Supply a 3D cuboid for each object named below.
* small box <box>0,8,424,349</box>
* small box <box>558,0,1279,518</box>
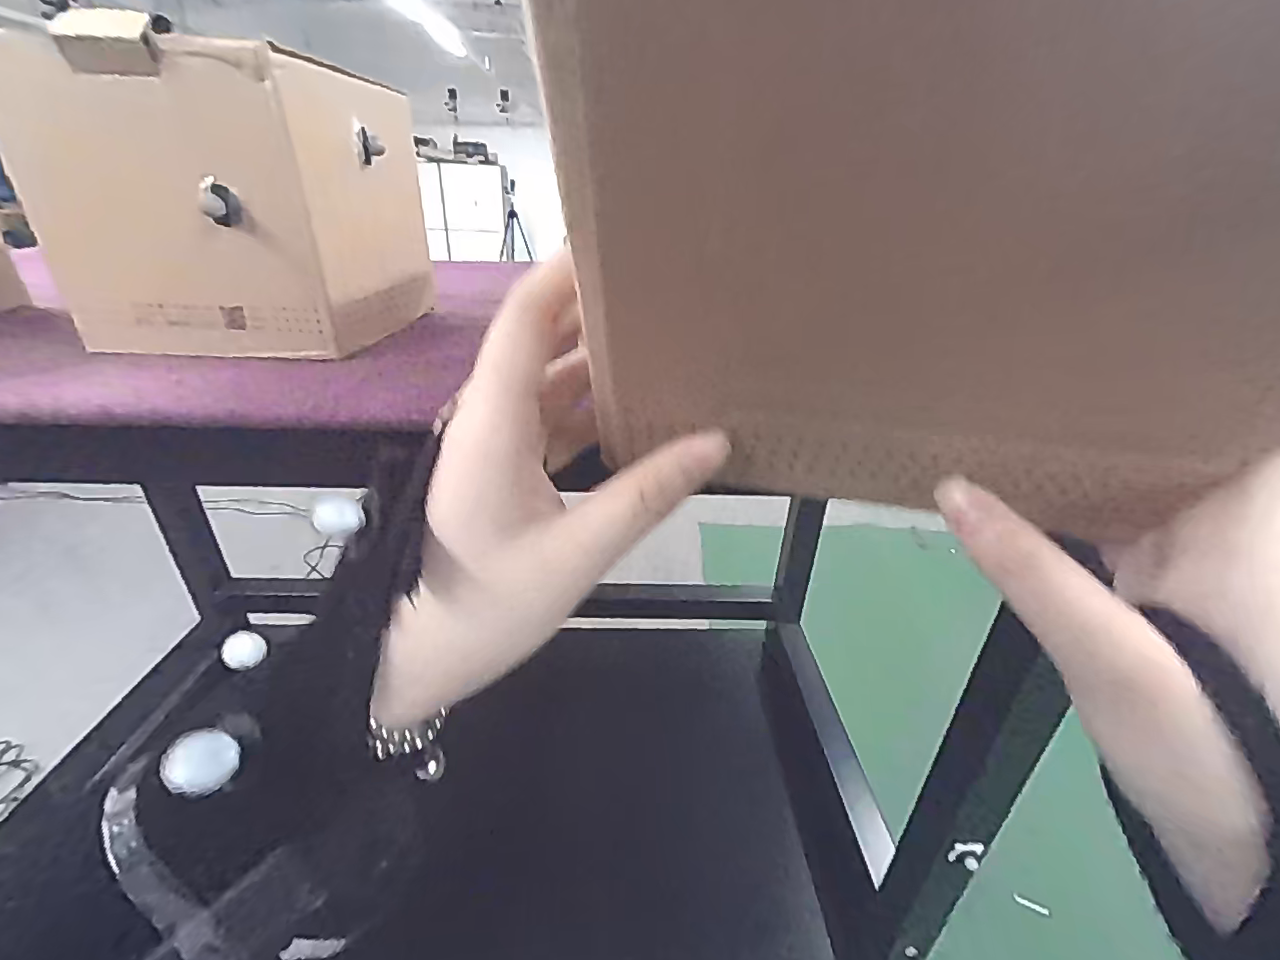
[{"bbox_3d":[-0.266,-0.194,0.375,0.168,0.176,0.179,3,27,-1],"label":"small box"},{"bbox_3d":[0.081,-0.104,0.147,0.179,0.176,0.168,8,61,6],"label":"small box"}]
